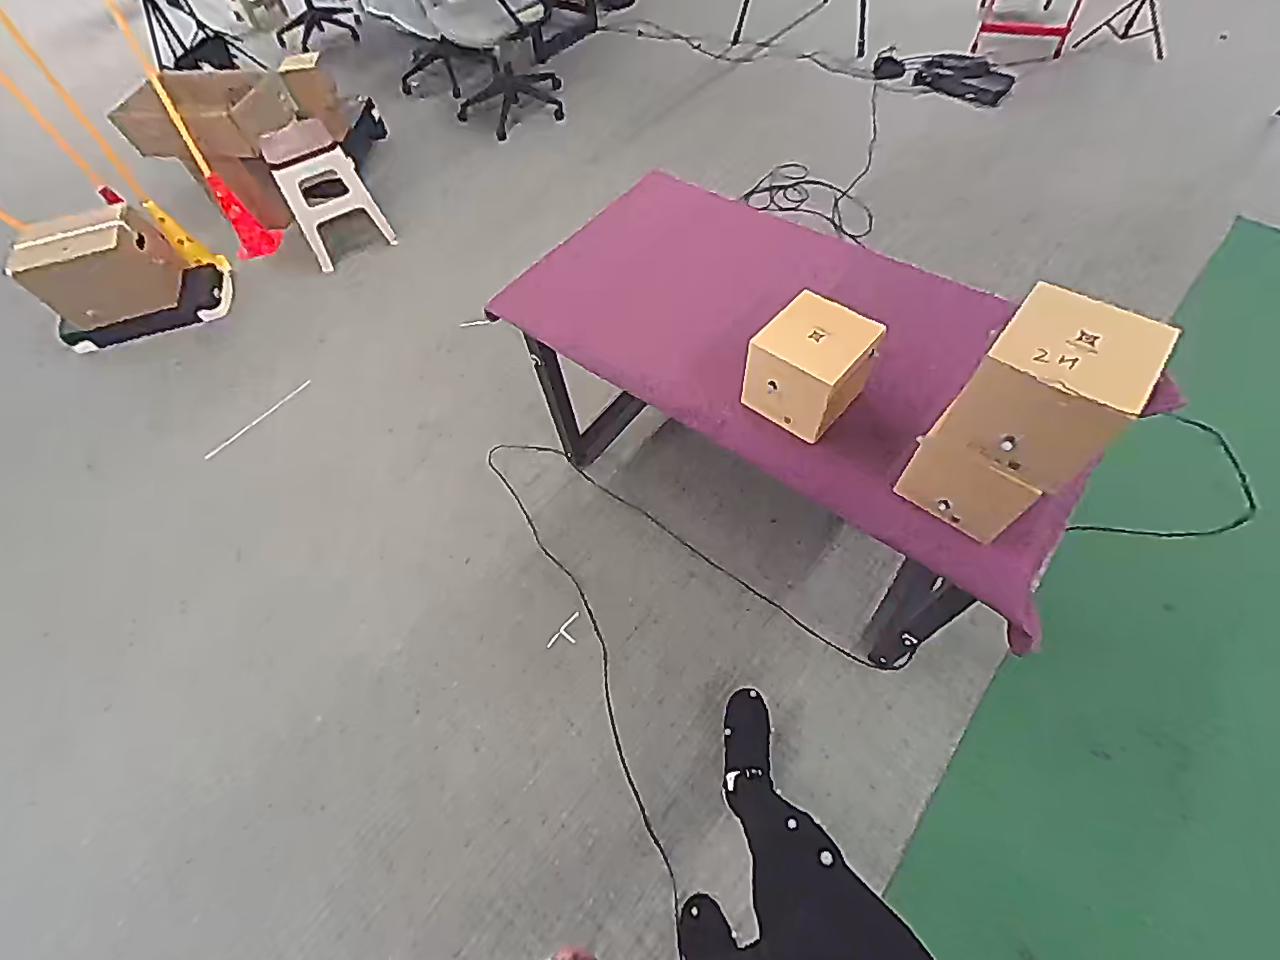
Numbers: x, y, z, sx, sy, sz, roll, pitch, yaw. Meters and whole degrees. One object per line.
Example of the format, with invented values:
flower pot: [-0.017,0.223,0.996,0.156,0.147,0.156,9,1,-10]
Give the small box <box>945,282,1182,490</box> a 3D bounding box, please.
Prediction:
small box: [0.546,-0.122,0.721,0.168,0.176,0.179,35,67,24]

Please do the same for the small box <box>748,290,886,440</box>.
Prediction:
small box: [0.312,-0.206,0.992,0.168,0.176,0.179,36,67,24]
